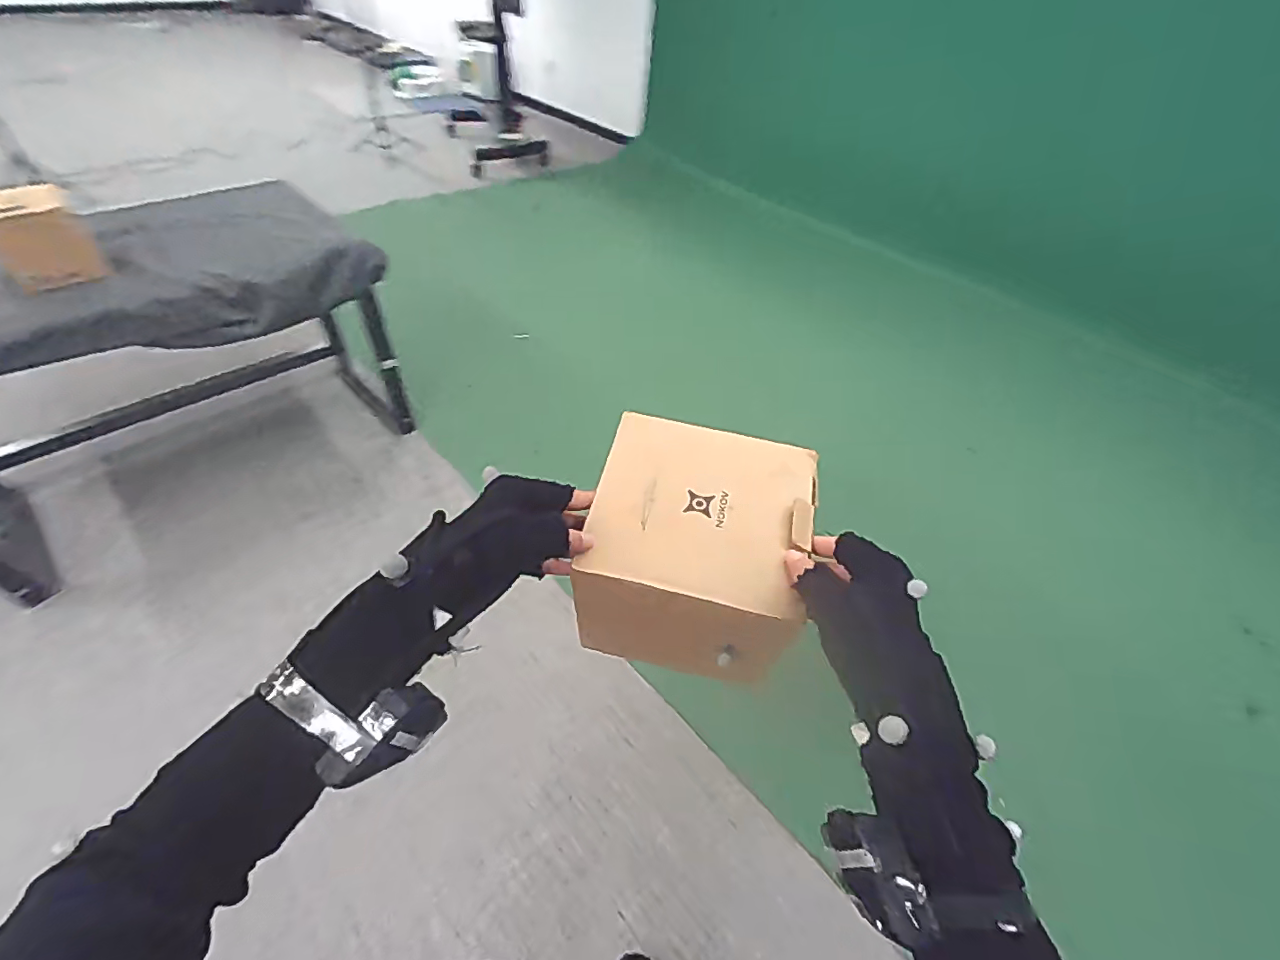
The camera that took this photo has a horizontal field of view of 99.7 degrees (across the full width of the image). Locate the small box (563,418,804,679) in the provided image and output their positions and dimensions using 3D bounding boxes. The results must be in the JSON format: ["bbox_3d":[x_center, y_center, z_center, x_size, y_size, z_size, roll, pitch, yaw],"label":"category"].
[{"bbox_3d":[0.042,0.069,0.501,0.179,0.176,0.168,9,52,7],"label":"small box"}]

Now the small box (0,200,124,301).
[{"bbox_3d":[-1.423,-0.557,1.324,0.168,0.176,0.179,-32,55,-30],"label":"small box"}]
